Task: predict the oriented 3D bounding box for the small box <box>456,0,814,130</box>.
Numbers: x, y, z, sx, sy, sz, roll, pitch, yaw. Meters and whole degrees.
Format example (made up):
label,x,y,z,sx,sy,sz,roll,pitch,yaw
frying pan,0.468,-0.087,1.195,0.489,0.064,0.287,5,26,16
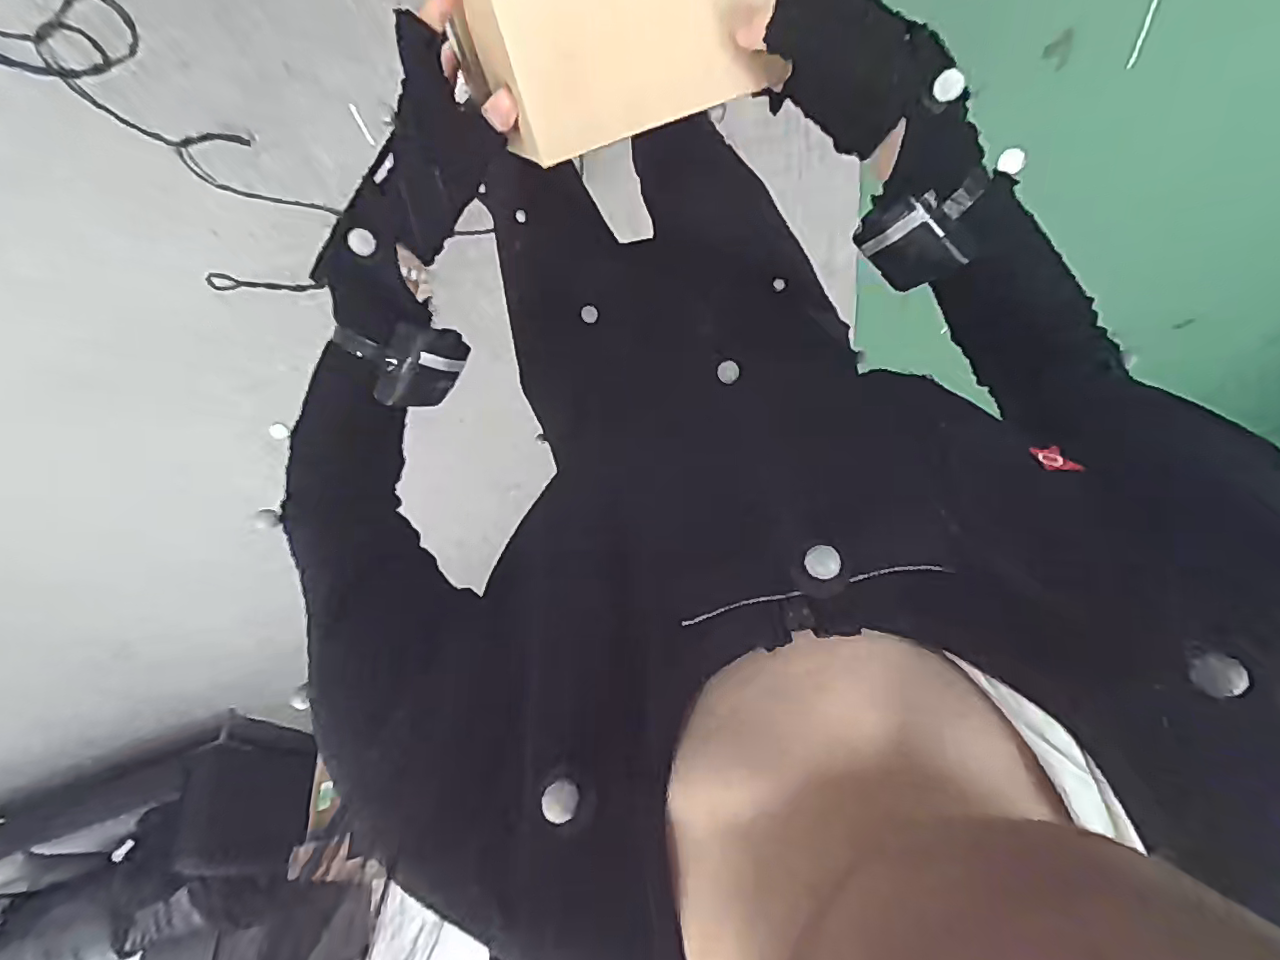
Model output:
label,x,y,z,sx,sy,sz,roll,pitch,yaw
small box,-0.023,-0.327,0.318,0.179,0.176,0.168,-27,132,-10
